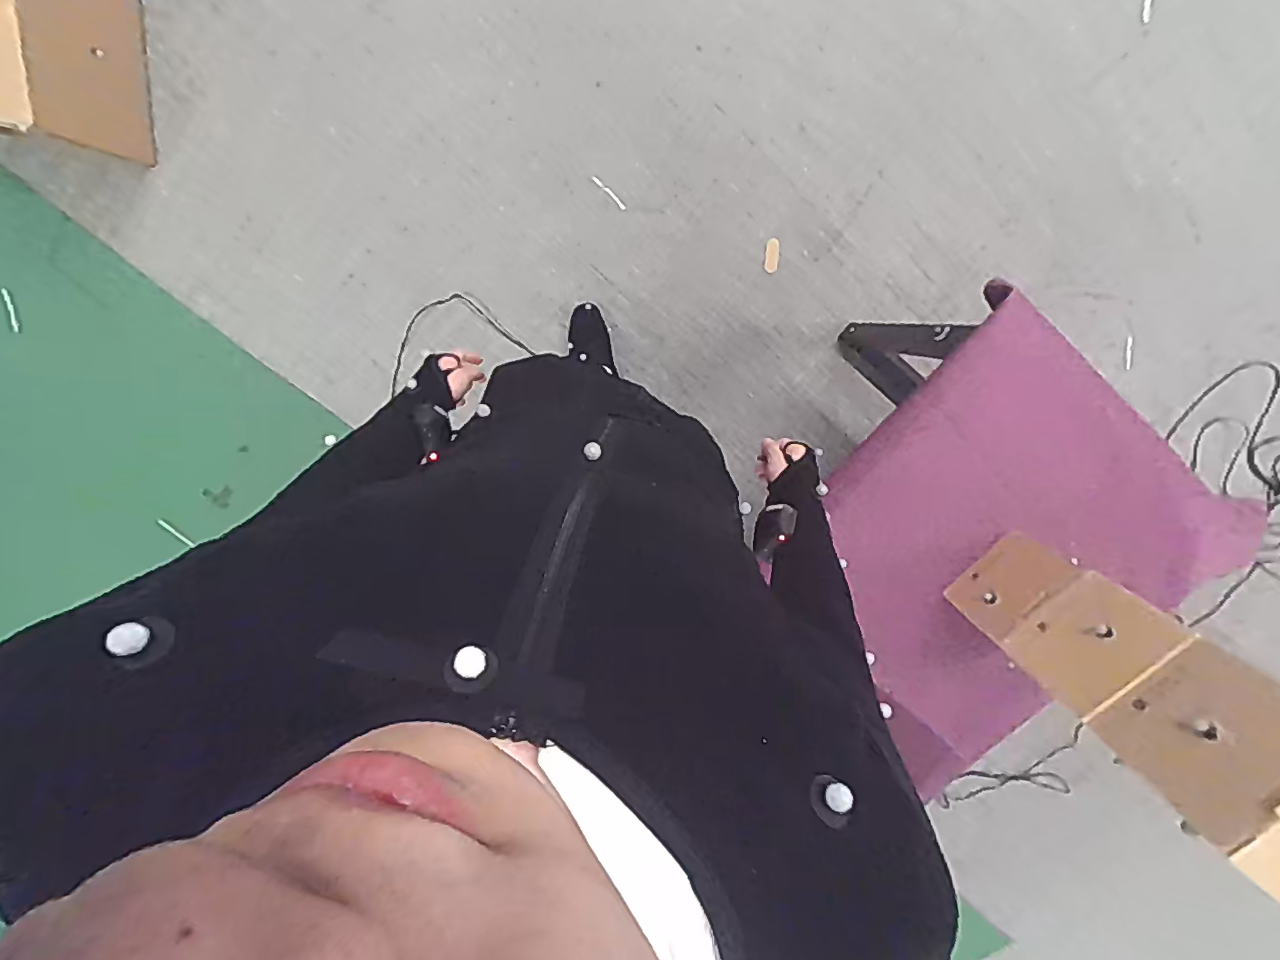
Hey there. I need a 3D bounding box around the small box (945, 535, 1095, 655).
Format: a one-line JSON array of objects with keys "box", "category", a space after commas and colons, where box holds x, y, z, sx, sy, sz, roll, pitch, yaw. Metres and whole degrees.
[{"box": [0.657, 0.213, 0.896, 0.179, 0.176, 0.168, 39, 104, -11], "category": "small box"}]

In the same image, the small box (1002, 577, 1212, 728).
[{"box": [0.654, 0.257, 0.741, 0.179, 0.176, 0.168, 38, 104, -11], "category": "small box"}]

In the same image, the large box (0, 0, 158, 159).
[{"box": [-1.383, -0.997, 1.207, 0.320, 0.320, 0.408, 8, 108, -1], "category": "large box"}]

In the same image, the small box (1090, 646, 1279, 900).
[{"box": [0.657, 0.310, 0.585, 0.179, 0.176, 0.168, 38, 104, -10], "category": "small box"}]
